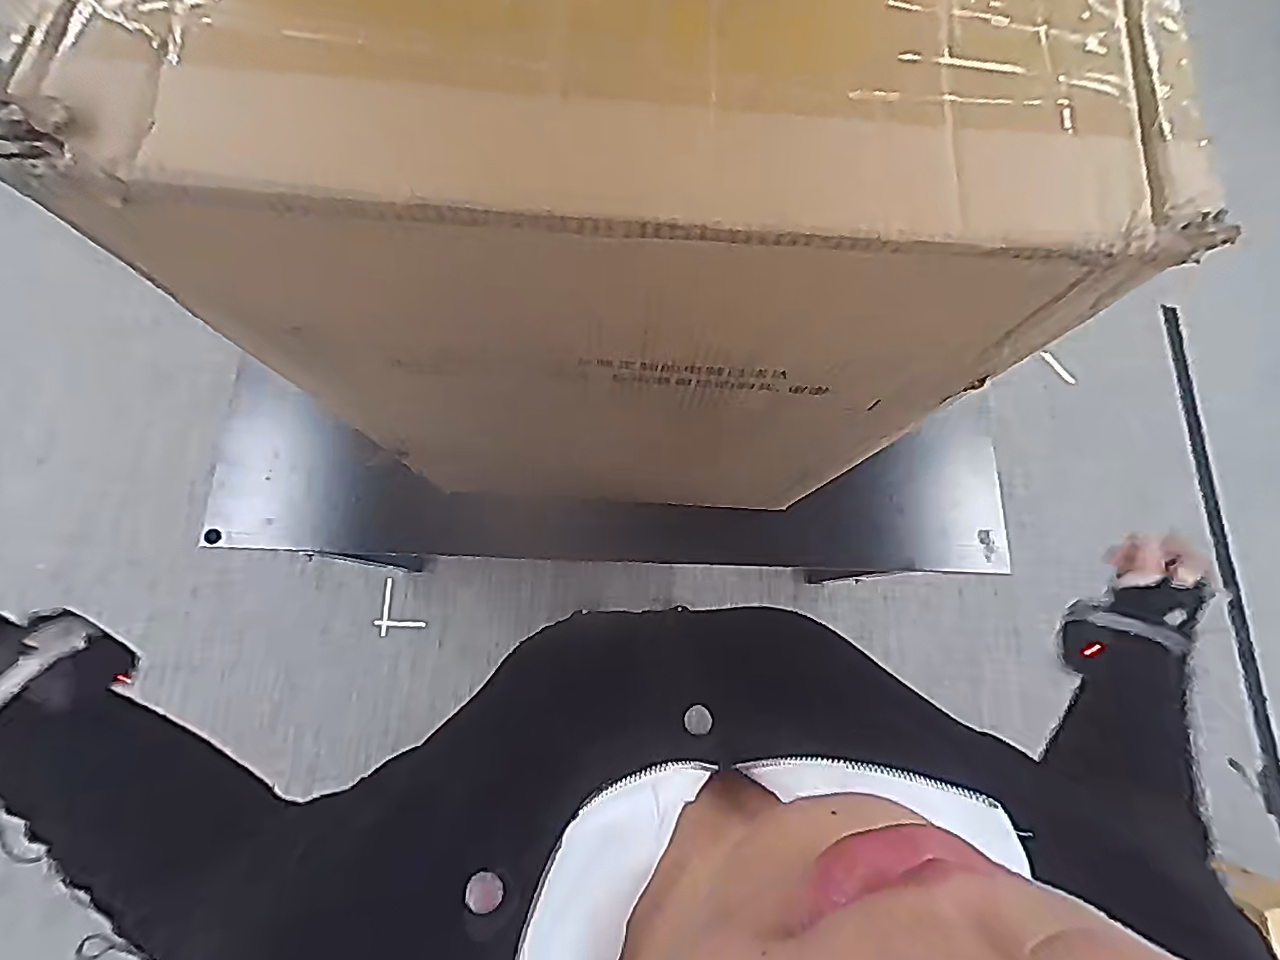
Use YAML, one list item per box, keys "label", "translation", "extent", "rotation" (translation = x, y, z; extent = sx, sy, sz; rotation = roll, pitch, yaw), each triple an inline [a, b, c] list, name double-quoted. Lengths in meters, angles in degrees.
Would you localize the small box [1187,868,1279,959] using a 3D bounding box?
- label: "small box"
  translation: [1.342, 0.963, 1.158]
  extent: [0.168, 0.176, 0.179]
  rotation: [-2, 77, -3]
